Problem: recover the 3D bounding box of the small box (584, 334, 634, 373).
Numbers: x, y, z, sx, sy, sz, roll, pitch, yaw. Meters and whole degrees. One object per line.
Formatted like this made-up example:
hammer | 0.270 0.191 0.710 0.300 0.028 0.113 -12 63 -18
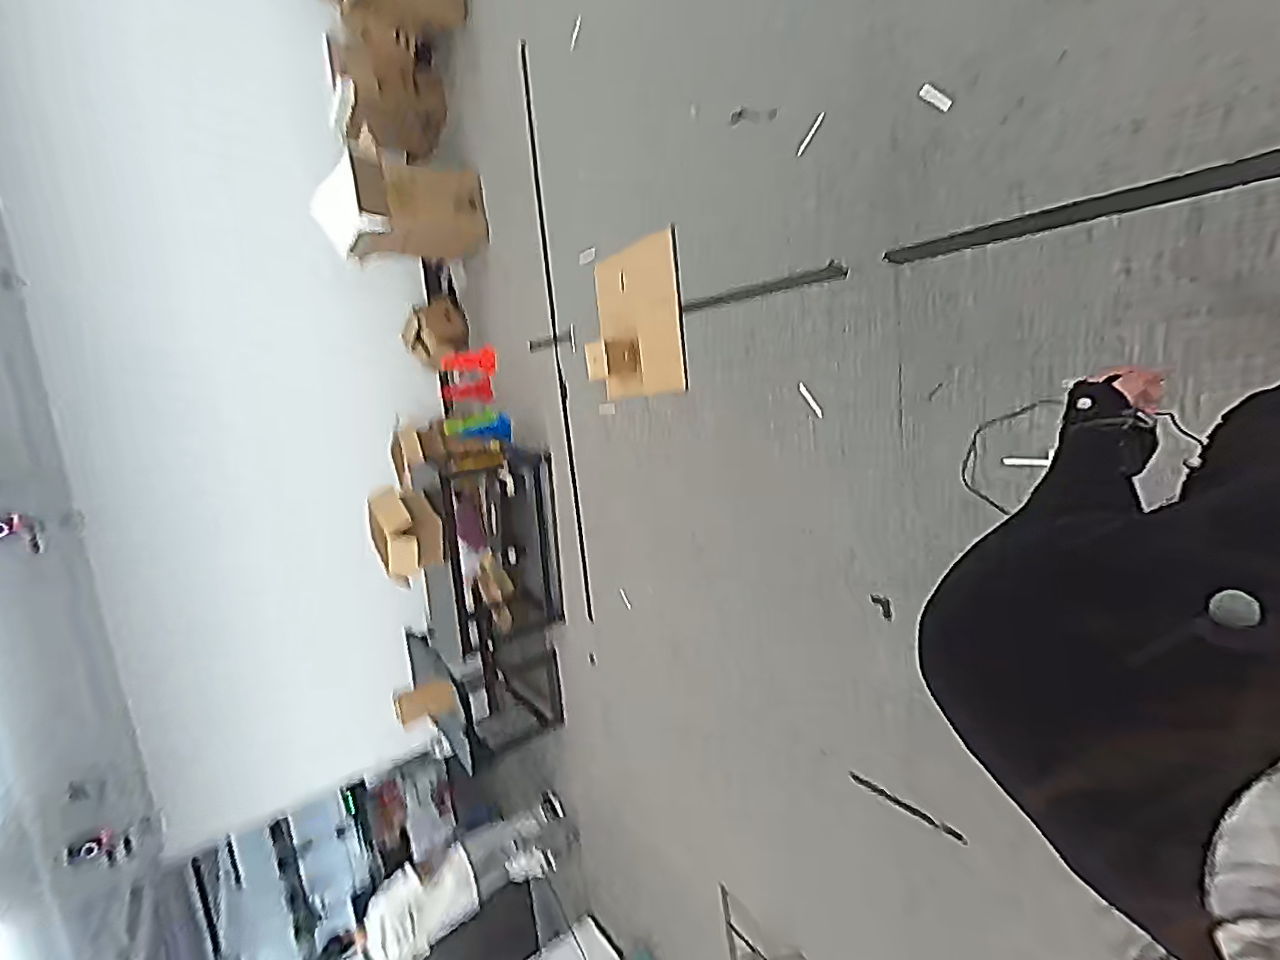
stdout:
small box | -0.150 -0.616 2.638 0.179 0.176 0.168 4 104 52
